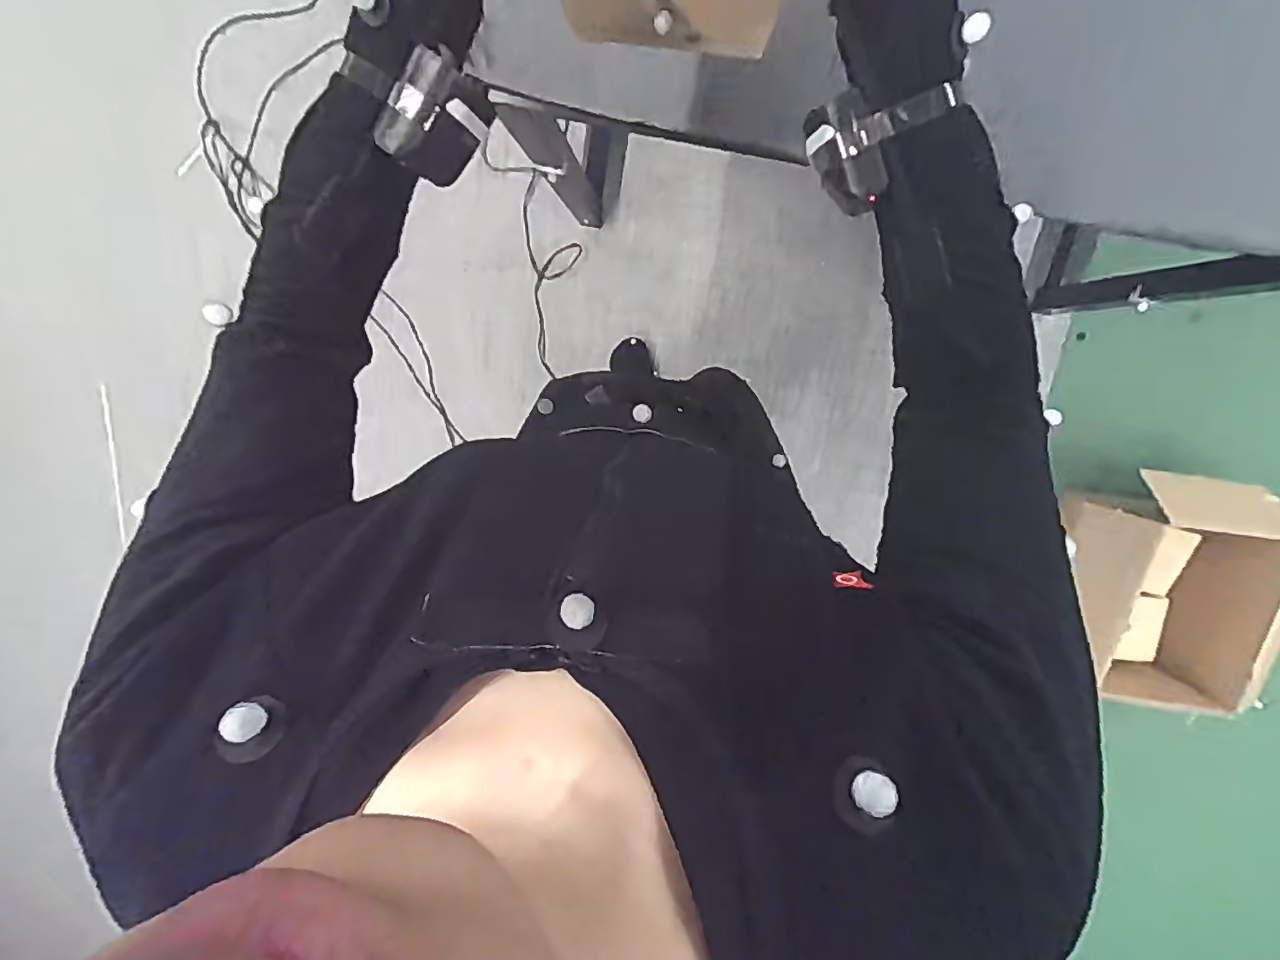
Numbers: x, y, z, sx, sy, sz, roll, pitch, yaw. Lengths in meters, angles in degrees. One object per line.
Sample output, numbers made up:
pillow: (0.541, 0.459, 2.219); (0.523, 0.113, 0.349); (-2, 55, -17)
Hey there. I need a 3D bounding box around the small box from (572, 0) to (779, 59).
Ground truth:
small box: (0.030, -0.435, 0.364); (0.168, 0.176, 0.179); (6, 103, 0)
